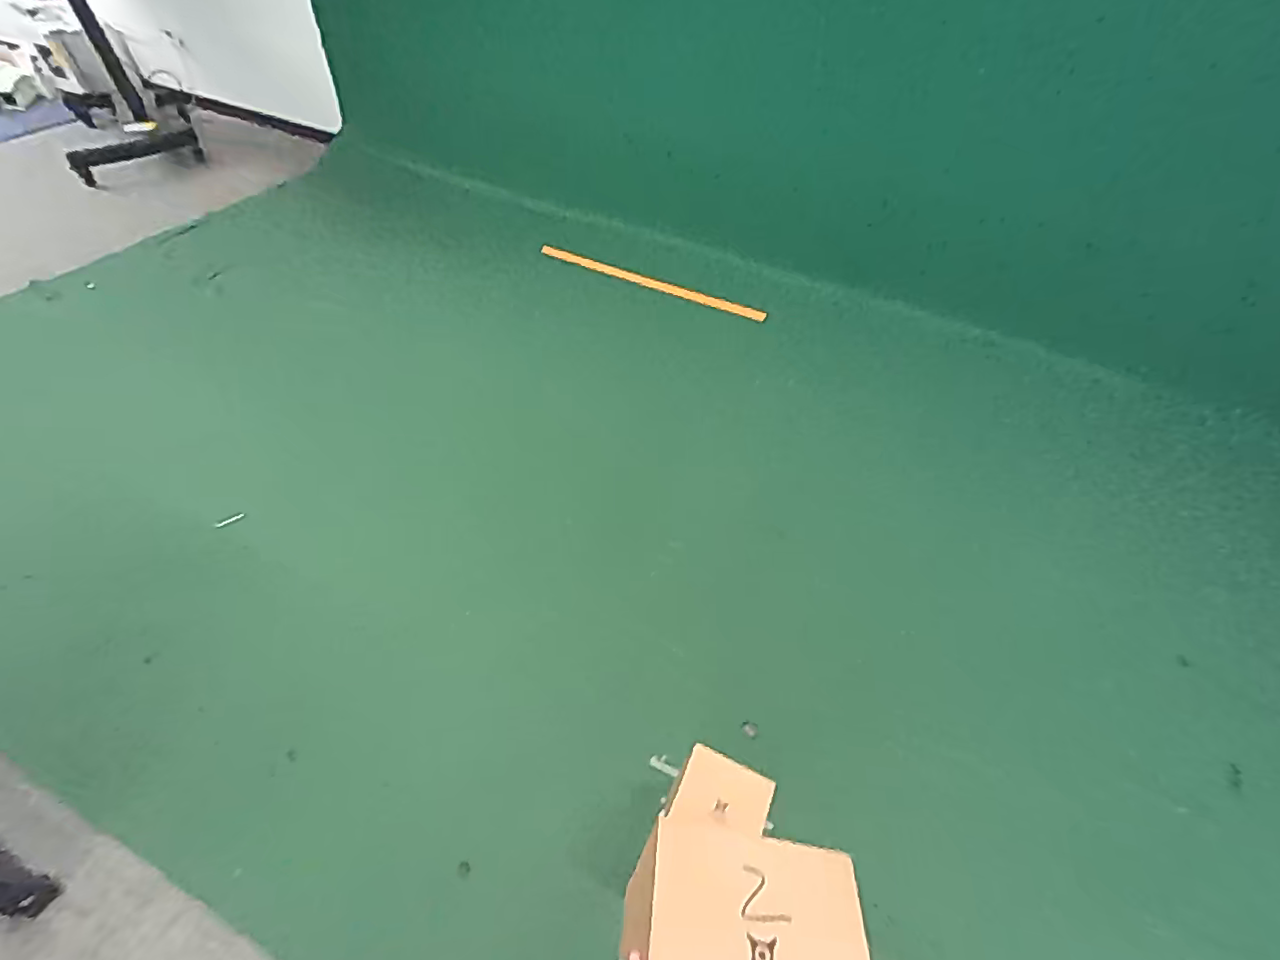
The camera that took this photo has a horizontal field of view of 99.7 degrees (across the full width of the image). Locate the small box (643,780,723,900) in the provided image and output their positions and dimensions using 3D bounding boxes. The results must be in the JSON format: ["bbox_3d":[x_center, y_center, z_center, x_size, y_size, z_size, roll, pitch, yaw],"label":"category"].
[{"bbox_3d":[0.115,0.758,1.158,0.168,0.176,0.179,23,51,14],"label":"small box"}]

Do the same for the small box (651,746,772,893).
[{"bbox_3d":[0.131,0.652,1.037,0.168,0.176,0.179,23,51,12],"label":"small box"}]
